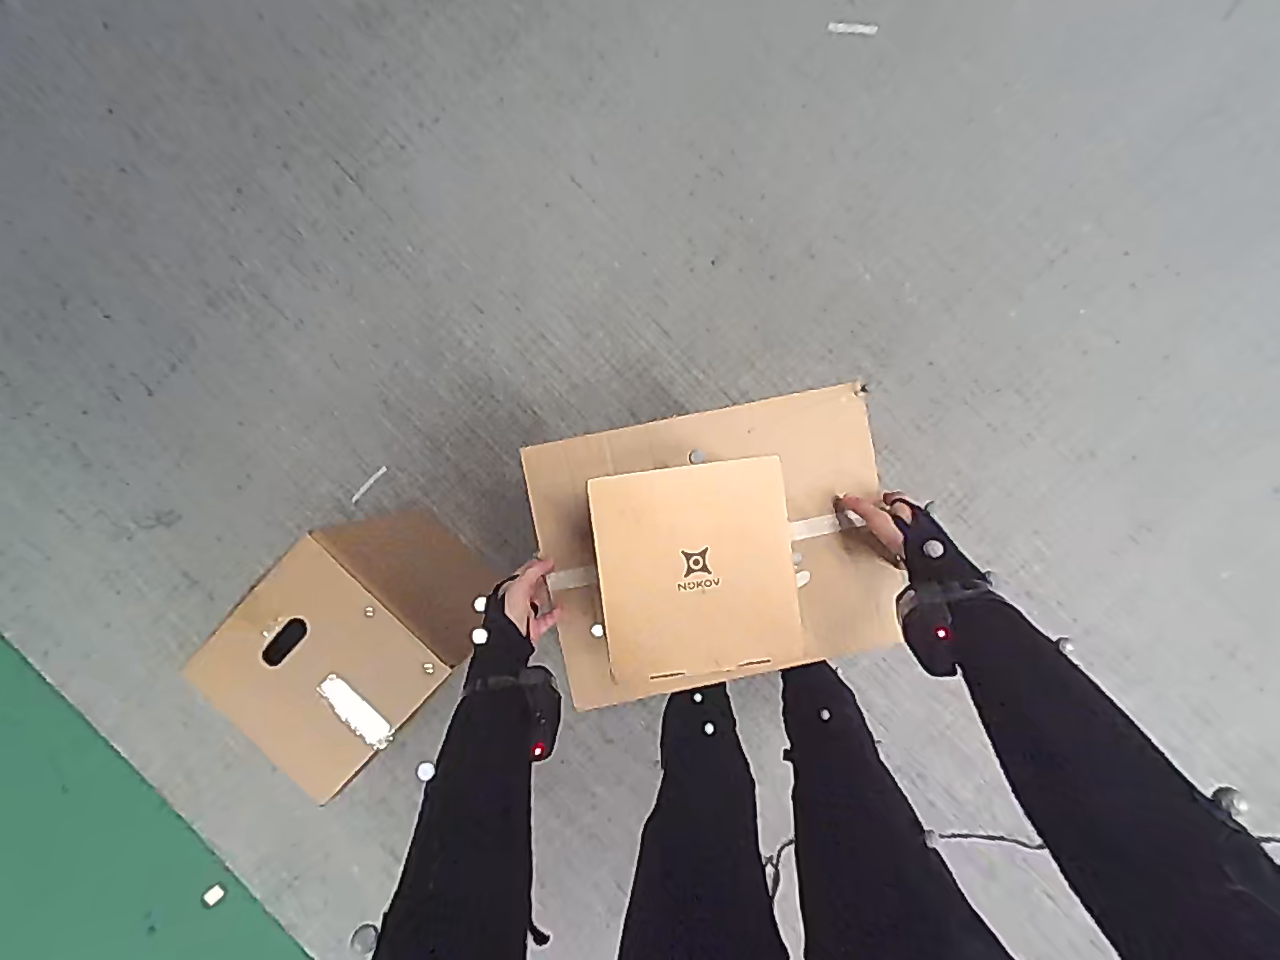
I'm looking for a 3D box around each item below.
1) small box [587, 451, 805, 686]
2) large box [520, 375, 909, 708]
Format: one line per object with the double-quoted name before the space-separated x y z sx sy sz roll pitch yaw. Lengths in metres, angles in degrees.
"small box" 0.042 0.073 0.521 0.168 0.176 0.179 -8 90 -2
"large box" 0.082 0.070 0.766 0.408 0.320 0.320 -12 91 -2
